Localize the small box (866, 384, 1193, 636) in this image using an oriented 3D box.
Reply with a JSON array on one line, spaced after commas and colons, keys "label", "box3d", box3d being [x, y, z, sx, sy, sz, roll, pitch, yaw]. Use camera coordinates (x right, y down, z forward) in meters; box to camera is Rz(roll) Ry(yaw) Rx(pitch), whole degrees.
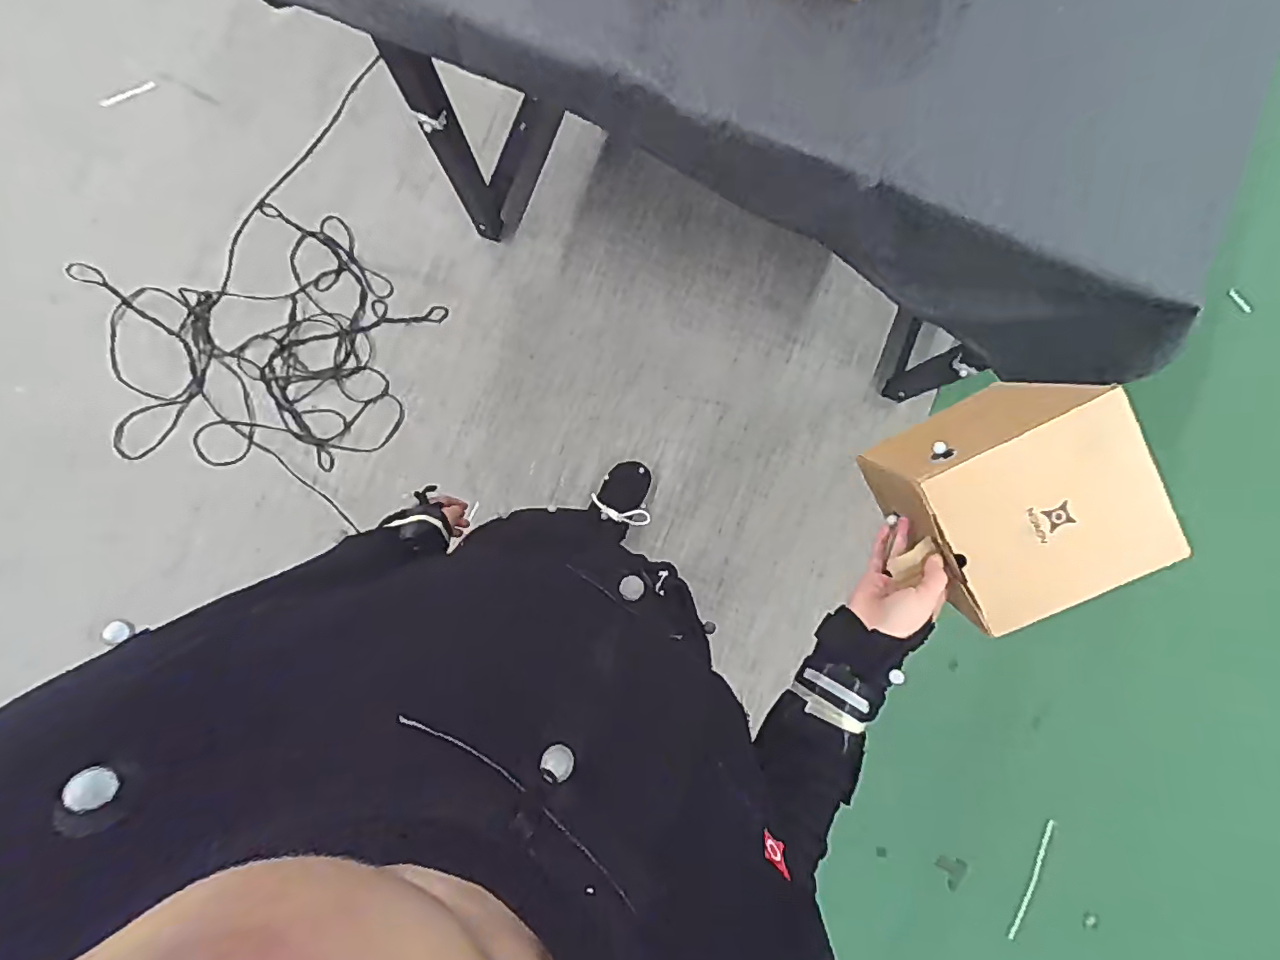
[{"label": "small box", "box3d": [0.361, 0.014, 0.537, 0.179, 0.176, 0.168, -29, 98, 10]}]
